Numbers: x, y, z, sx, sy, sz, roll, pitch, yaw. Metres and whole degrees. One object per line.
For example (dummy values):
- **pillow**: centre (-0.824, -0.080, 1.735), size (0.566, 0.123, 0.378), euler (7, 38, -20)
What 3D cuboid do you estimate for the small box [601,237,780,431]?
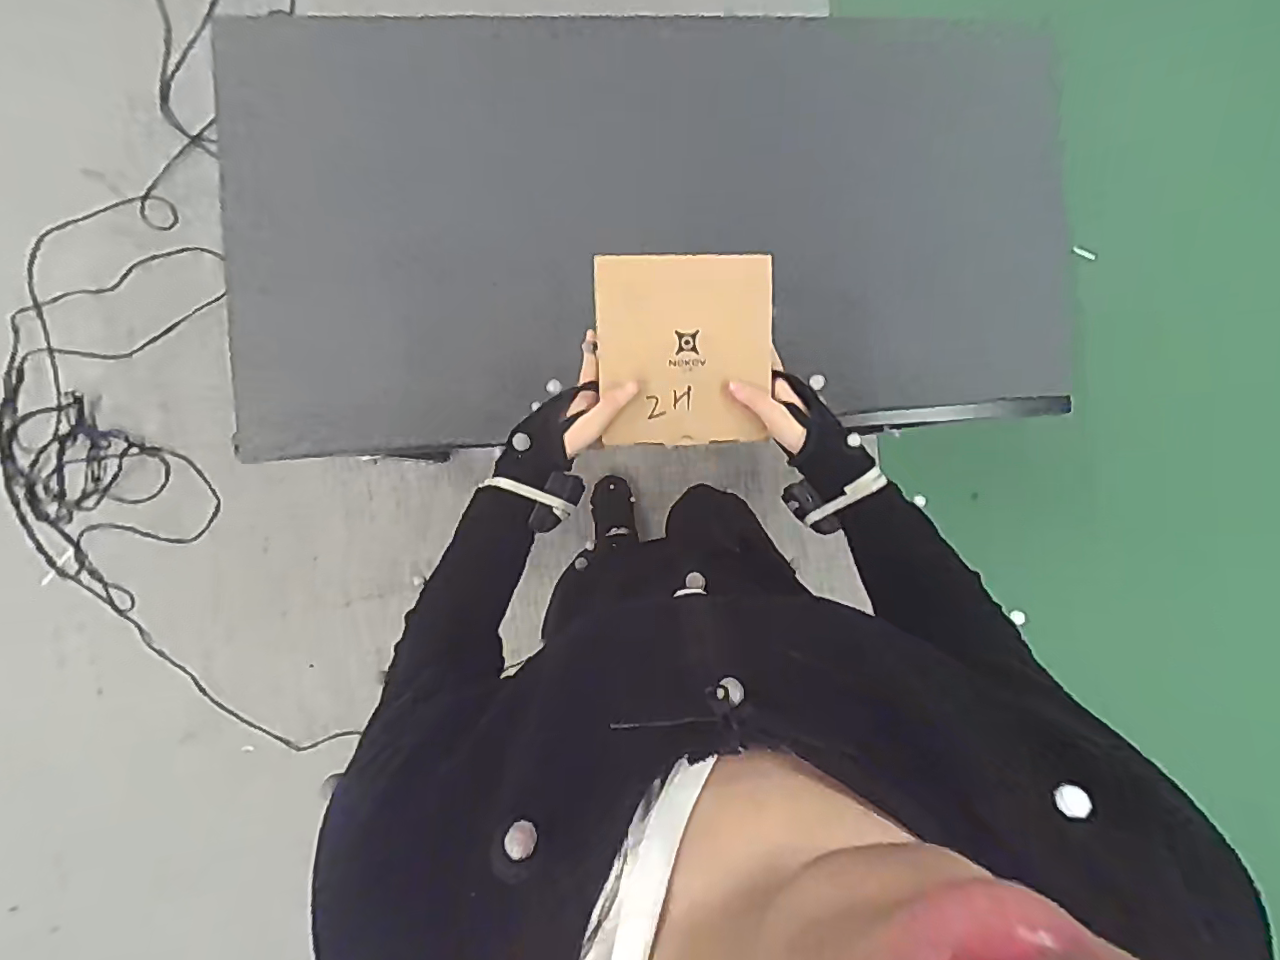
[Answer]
- **small box**: centre (0.043, -0.144, 0.579), size (0.168, 0.176, 0.179), euler (-2, 98, -3)
